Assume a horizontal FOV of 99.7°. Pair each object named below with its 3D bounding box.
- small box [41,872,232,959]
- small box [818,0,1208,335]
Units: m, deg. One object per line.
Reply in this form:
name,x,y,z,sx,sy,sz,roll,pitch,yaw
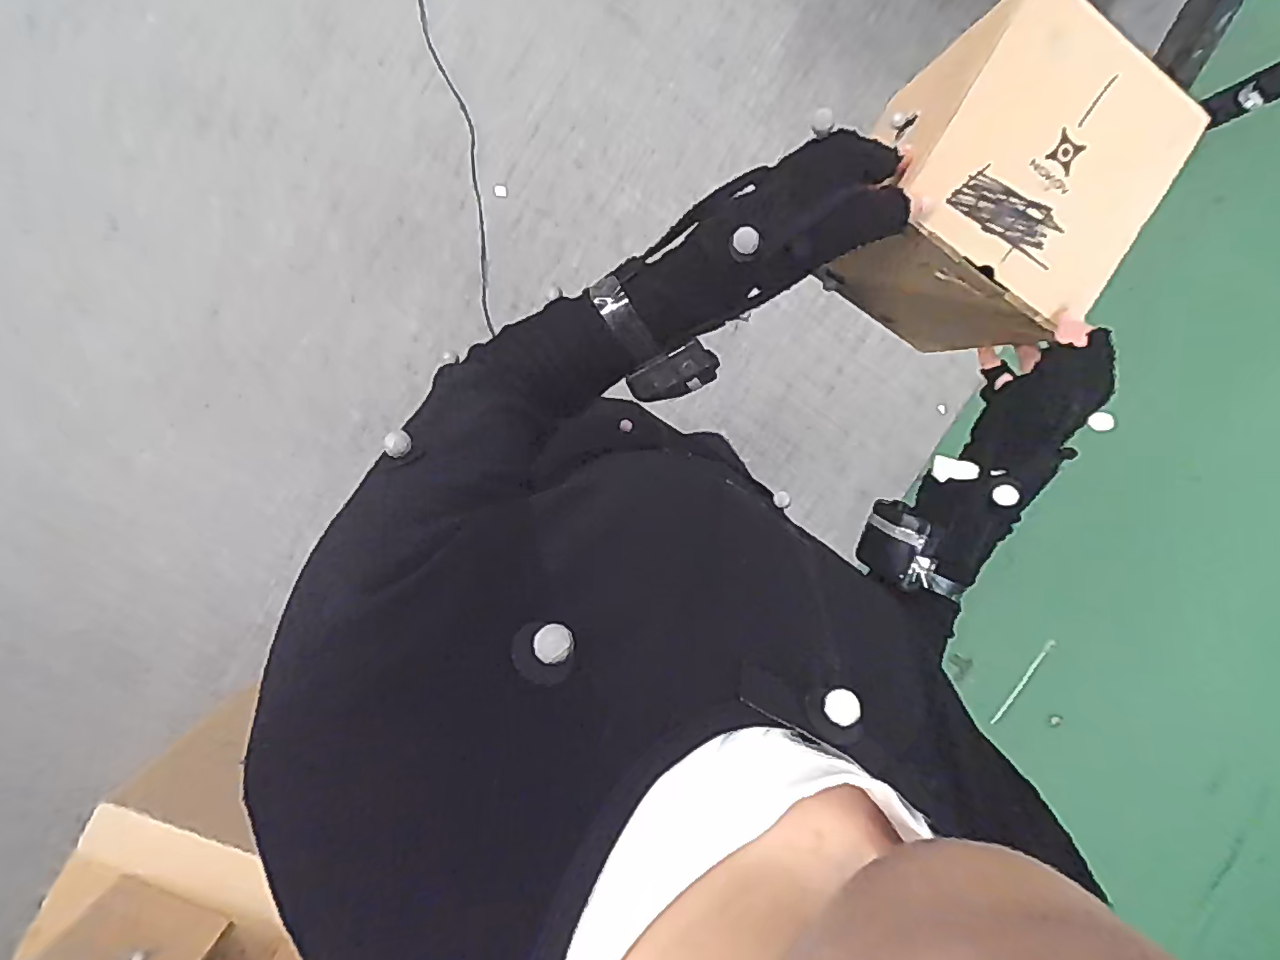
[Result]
small box,-0.726,0.697,0.749,0.179,0.176,0.168,30,90,-10
small box,0.276,-0.238,0.448,0.168,0.176,0.179,29,94,-12
